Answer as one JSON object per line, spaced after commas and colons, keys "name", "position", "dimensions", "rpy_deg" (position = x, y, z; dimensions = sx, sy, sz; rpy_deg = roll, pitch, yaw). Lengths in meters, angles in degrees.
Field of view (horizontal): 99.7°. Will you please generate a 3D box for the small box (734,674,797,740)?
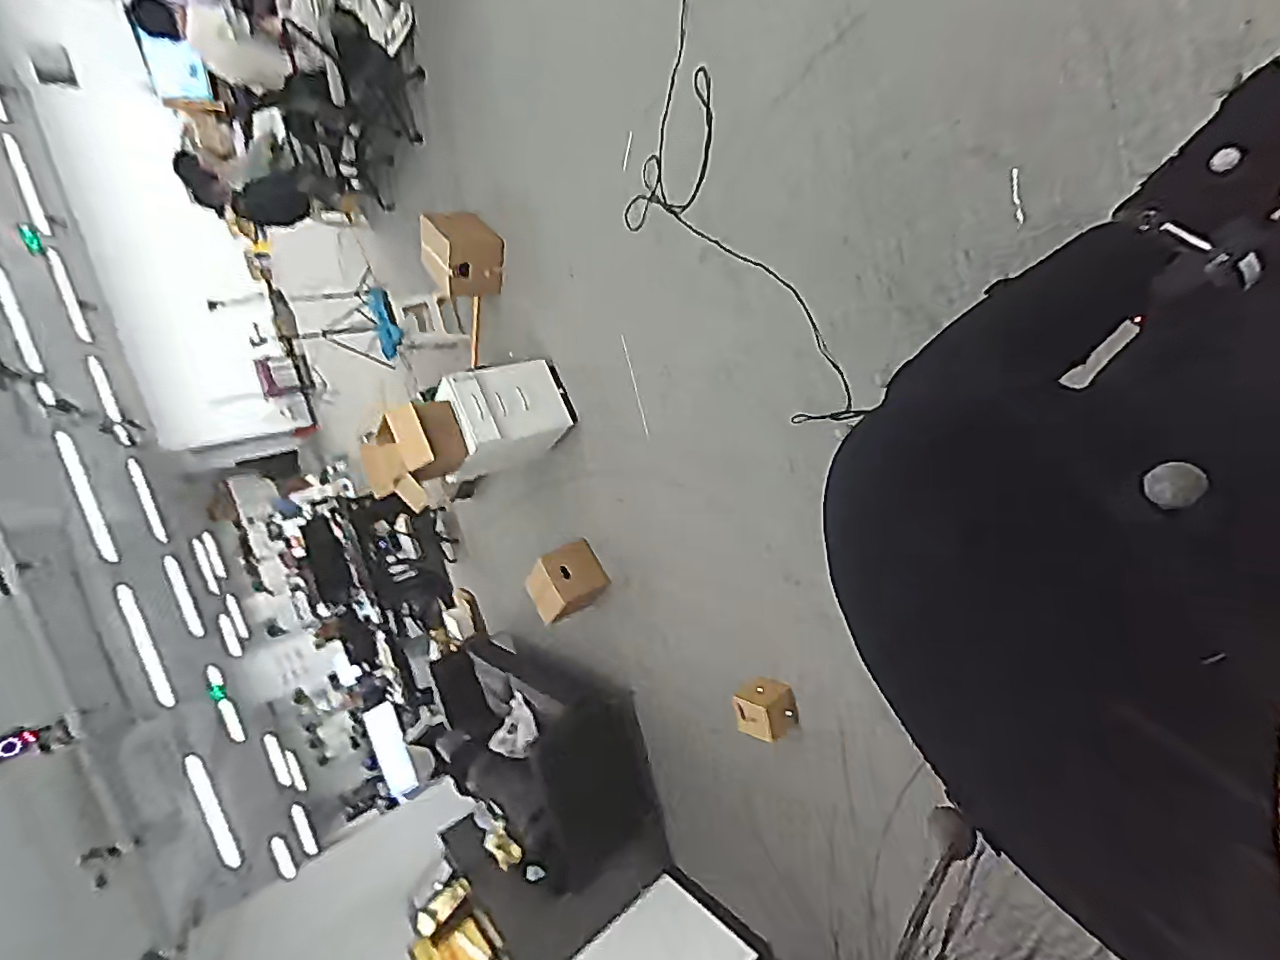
{"name": "small box", "position": [0.521, 0.932, 2.242], "dimensions": [0.179, 0.176, 0.168], "rpy_deg": [-1, 105, 53]}
